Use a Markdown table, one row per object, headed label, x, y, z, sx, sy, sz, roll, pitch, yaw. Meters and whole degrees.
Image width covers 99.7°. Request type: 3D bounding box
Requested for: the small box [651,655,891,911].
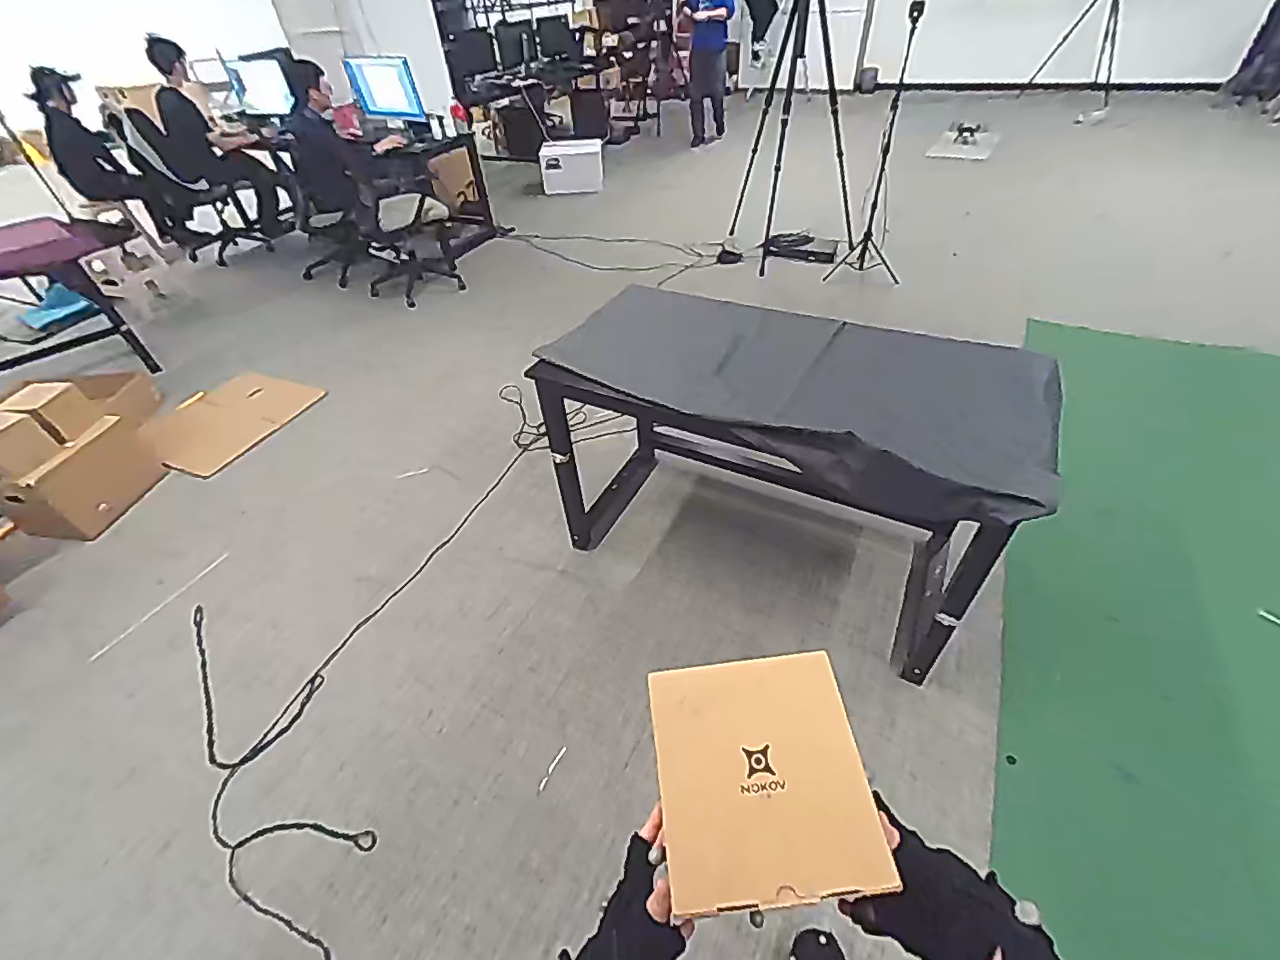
| label | x | y | z | sx | sy | sz | roll | pitch | yaw |
| --- | --- | --- | --- | --- | --- | --- | --- | --- | --- |
| small box | 0.099 | 0.286 | 0.506 | 0.168 | 0.176 | 0.179 | -6 | 52 | -1 |
